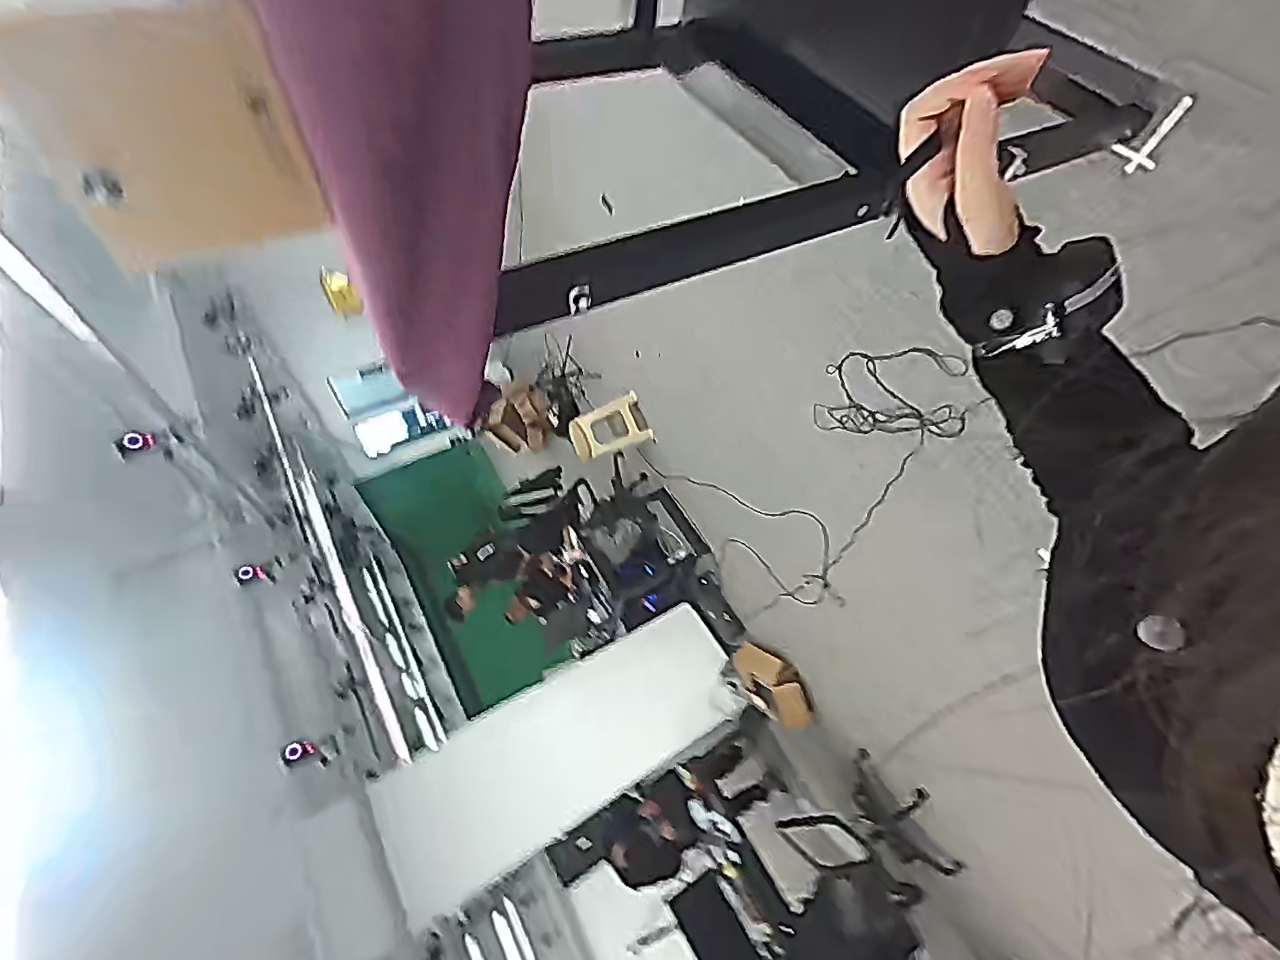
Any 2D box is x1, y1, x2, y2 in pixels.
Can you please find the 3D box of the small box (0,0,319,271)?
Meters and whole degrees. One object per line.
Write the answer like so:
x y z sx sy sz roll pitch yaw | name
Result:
-0.397 -0.306 0.450 0.179 0.176 0.168 53 156 31 | small box
